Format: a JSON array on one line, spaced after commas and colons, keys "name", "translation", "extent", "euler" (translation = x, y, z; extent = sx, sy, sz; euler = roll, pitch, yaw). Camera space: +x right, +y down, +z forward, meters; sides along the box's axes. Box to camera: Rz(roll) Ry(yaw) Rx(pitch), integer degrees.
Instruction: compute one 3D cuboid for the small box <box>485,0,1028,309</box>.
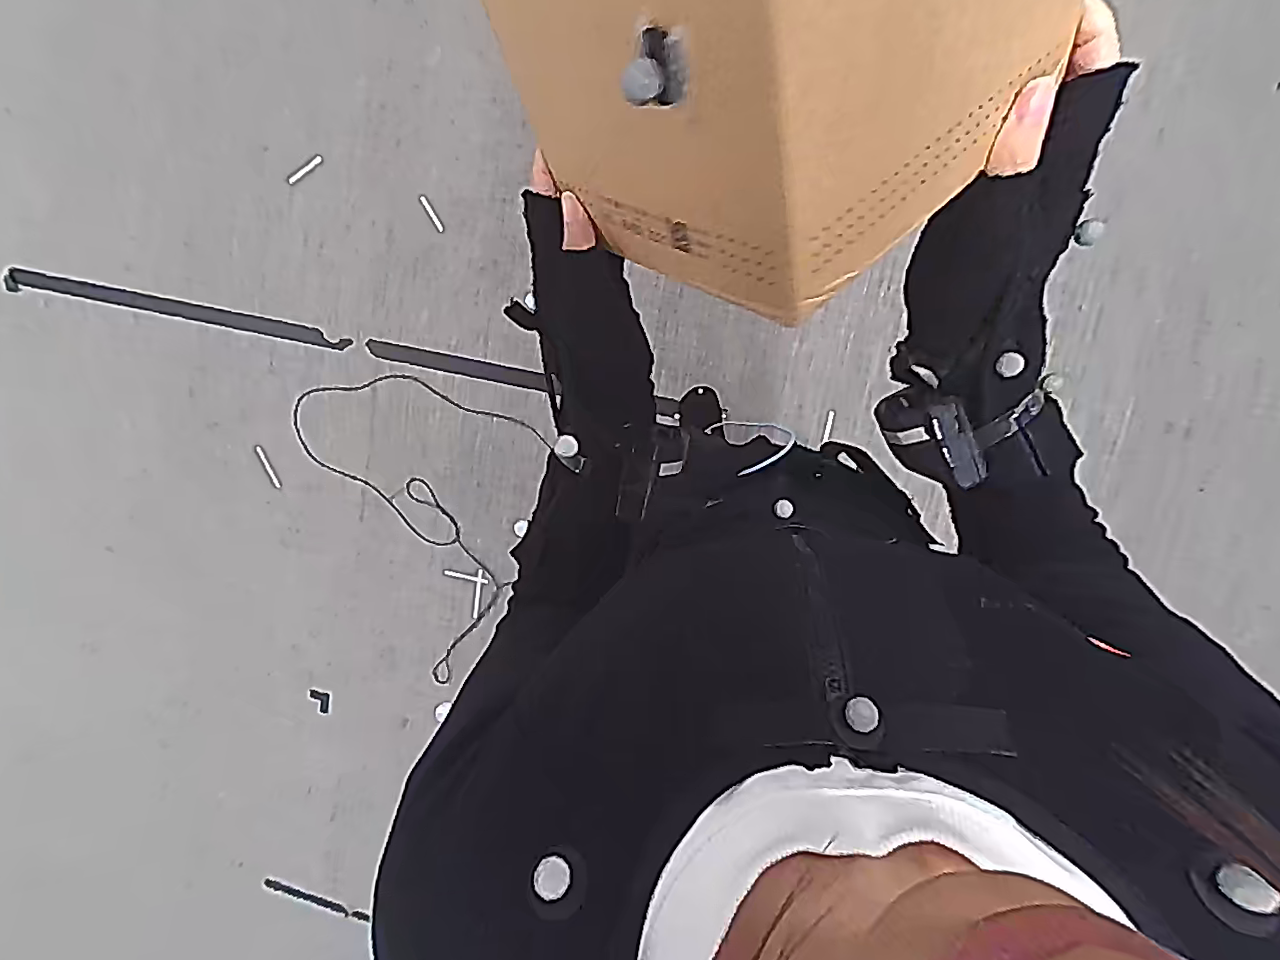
[{"name": "small box", "translation": [0.049, -0.206, 0.238], "extent": [0.179, 0.176, 0.168], "euler": [-39, 50, -11]}]
